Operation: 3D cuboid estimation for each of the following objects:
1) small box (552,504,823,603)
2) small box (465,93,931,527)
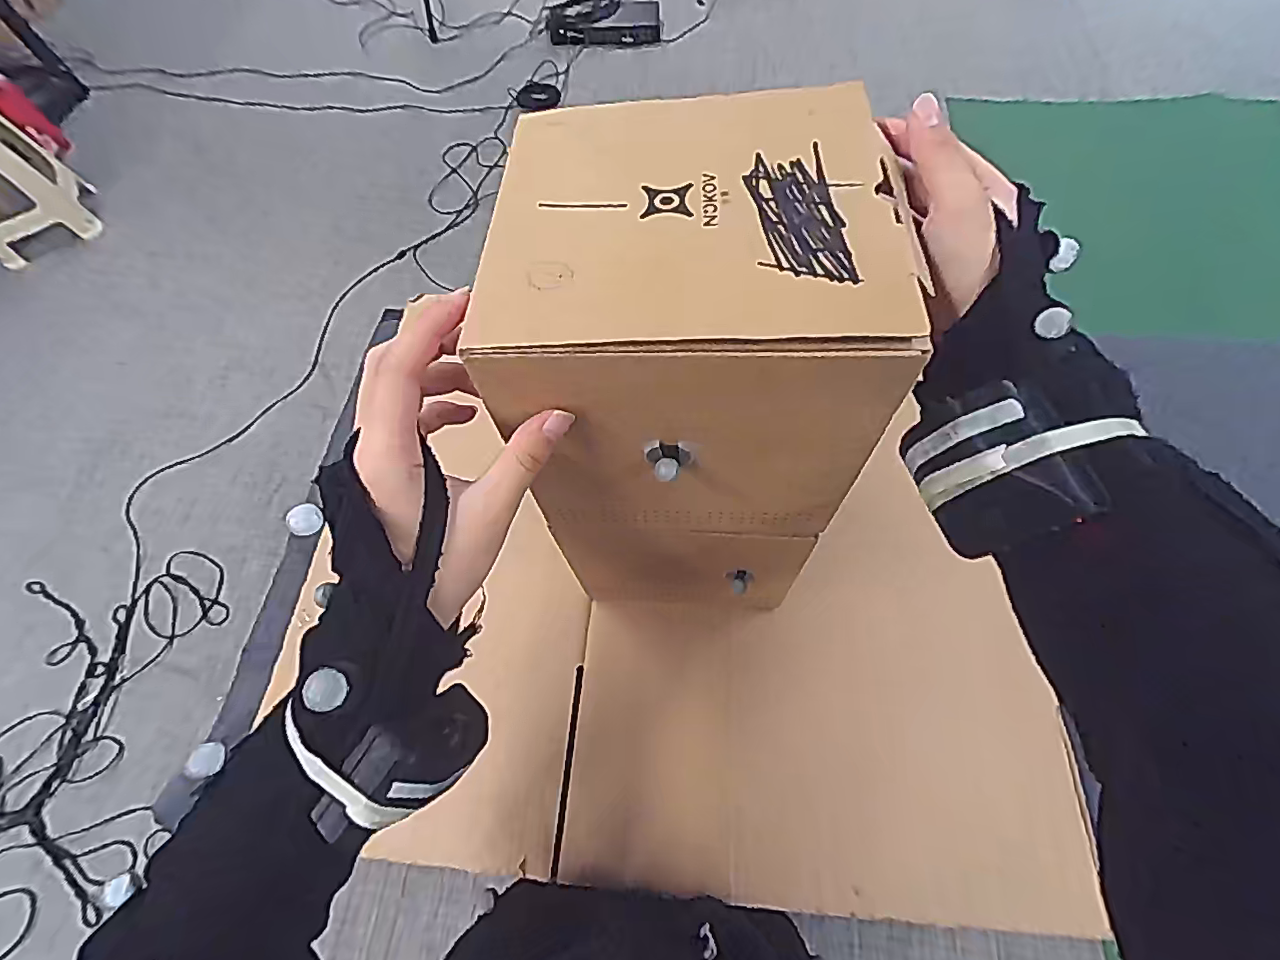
[{"bbox_3d":[0.040,-0.001,0.451,0.179,0.176,0.168,1,61,6],"label":"small box"},{"bbox_3d":[0.029,-0.080,0.306,0.179,0.176,0.168,0,62,5],"label":"small box"}]
